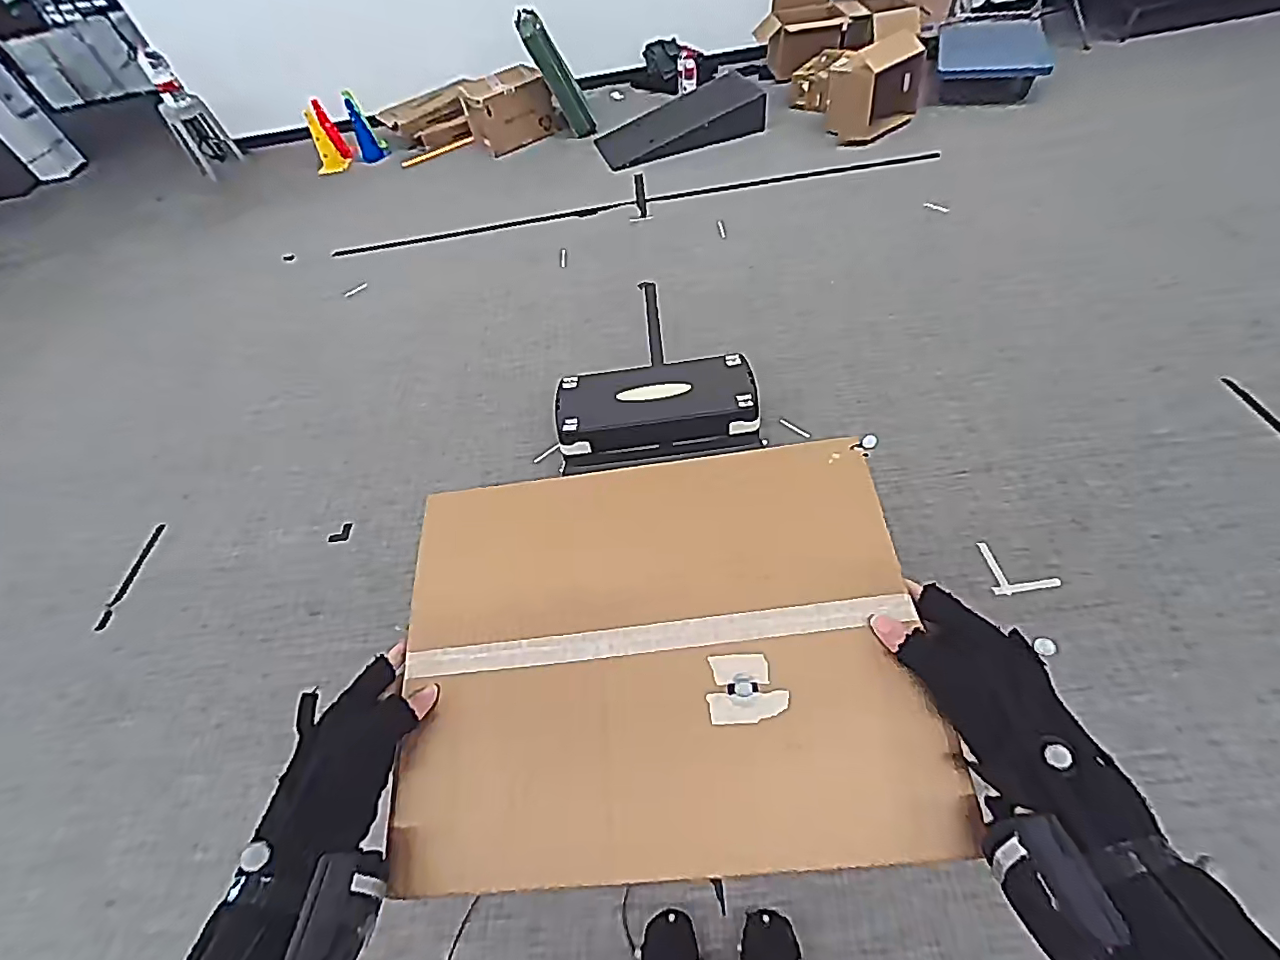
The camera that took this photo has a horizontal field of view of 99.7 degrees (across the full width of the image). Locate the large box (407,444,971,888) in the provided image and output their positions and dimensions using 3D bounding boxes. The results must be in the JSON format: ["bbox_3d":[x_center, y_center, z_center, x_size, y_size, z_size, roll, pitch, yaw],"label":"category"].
[{"bbox_3d":[0.032,0.198,0.572,0.408,0.320,0.320,-8,62,5],"label":"large box"}]

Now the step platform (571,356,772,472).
[{"bbox_3d":[0.104,-0.233,1.864,0.684,0.204,0.286,-8,52,3],"label":"step platform"}]
